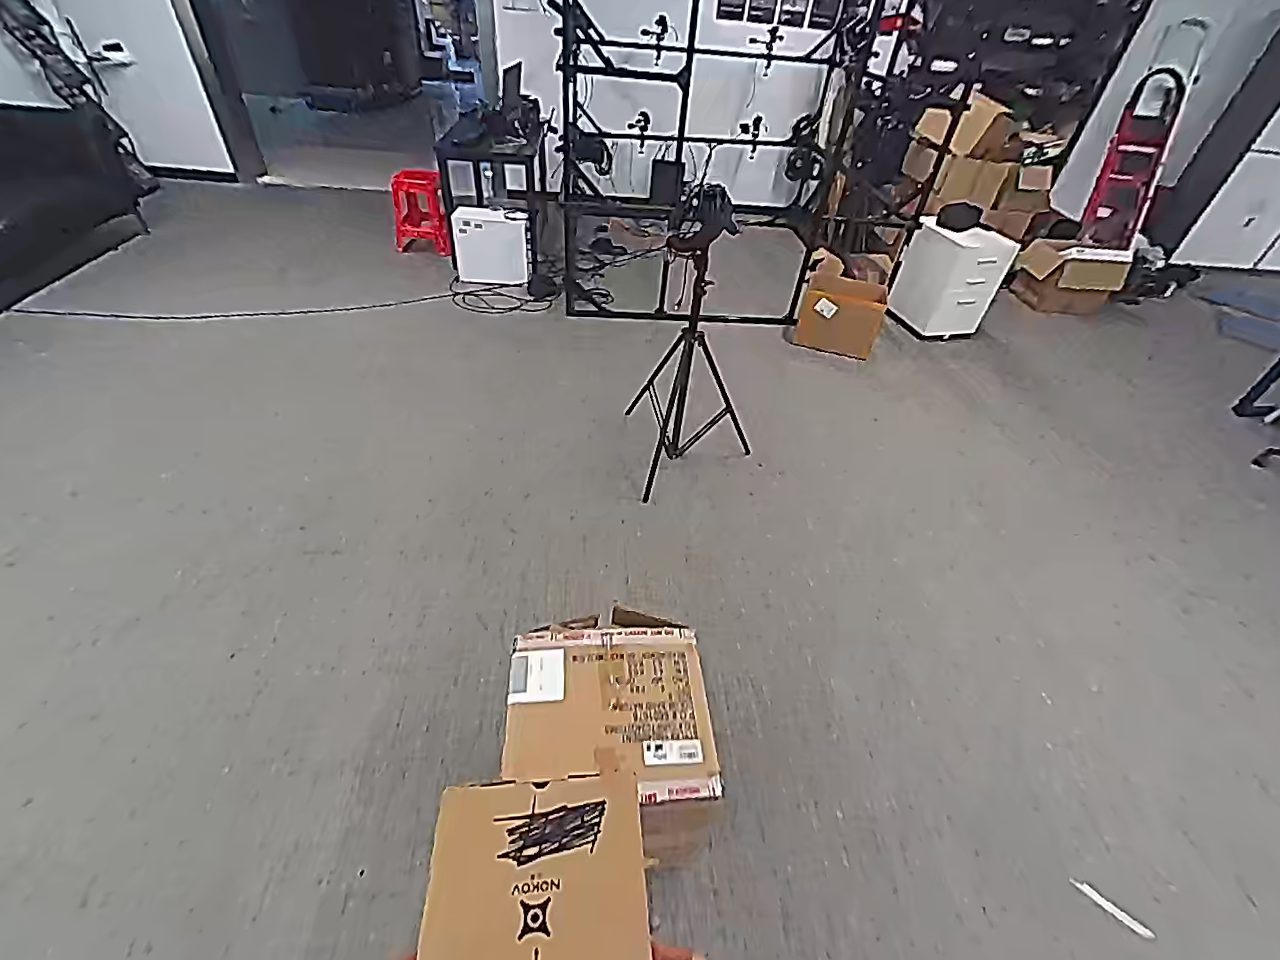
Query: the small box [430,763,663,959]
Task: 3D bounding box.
[{"bbox_3d":[-0.073,0.372,0.462,0.168,0.176,0.179,-3,42,-6],"label":"small box"}]
